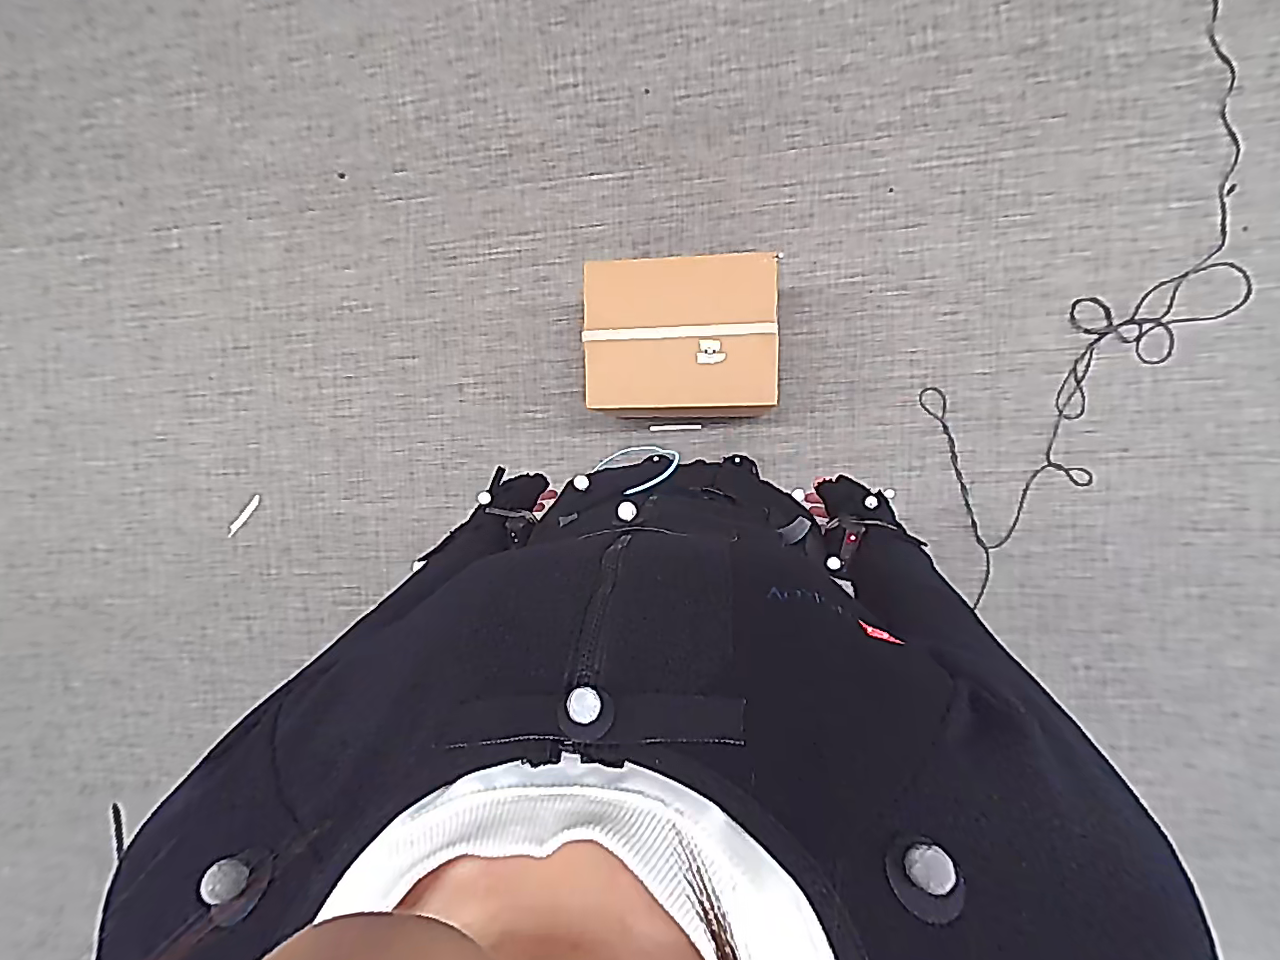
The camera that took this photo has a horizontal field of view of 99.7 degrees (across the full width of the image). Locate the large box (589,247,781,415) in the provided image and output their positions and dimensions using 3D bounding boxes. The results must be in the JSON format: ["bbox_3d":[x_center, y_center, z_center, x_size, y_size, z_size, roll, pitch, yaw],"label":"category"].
[{"bbox_3d":[0.108,-0.325,1.277,0.408,0.320,0.320,0,93,7],"label":"large box"}]
